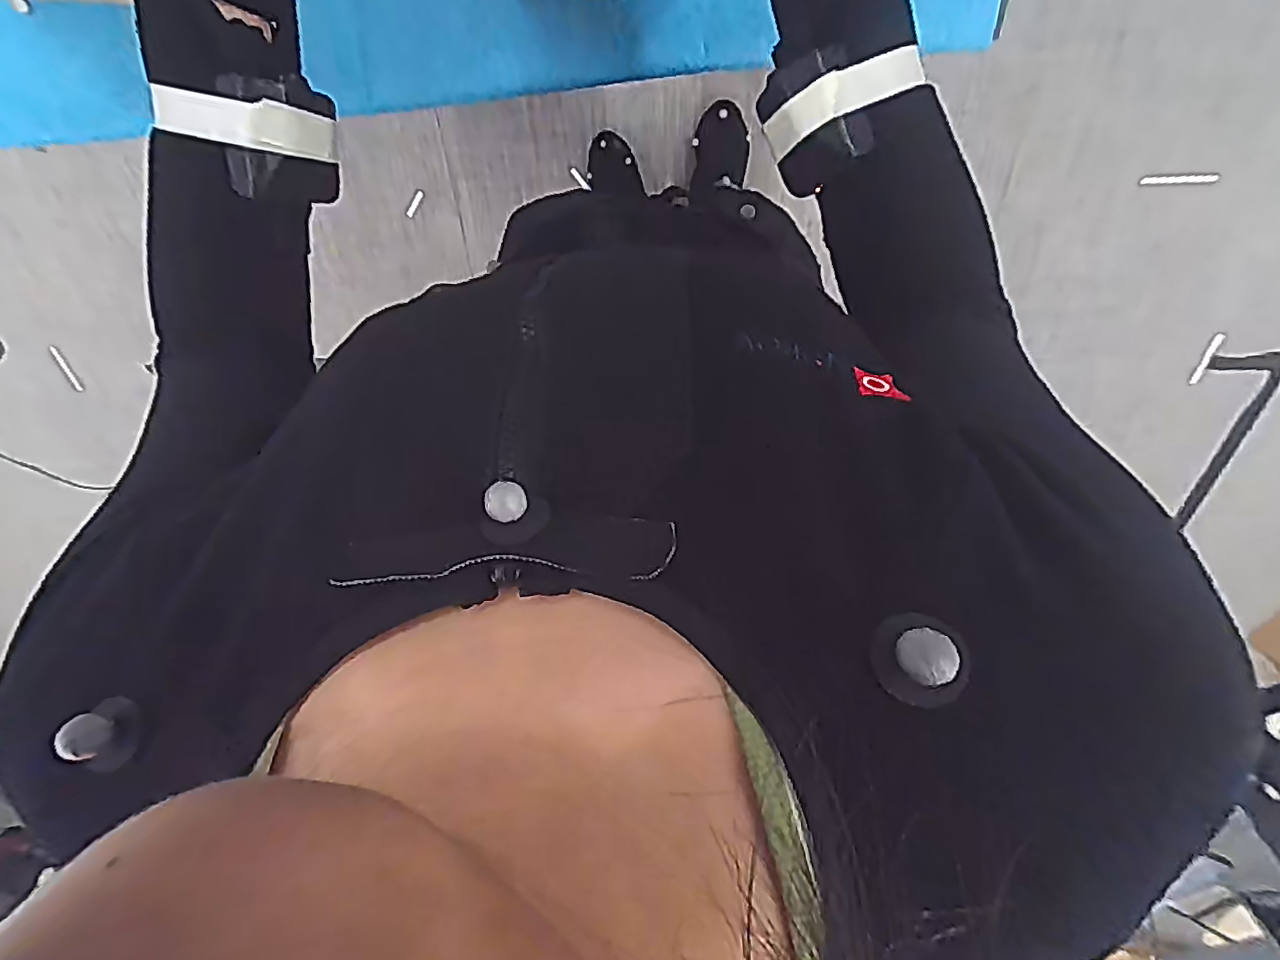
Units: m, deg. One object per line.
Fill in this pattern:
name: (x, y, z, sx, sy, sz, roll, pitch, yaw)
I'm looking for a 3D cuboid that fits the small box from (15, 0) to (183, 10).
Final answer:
small box: (-0.519, -0.482, 0.406, 0.168, 0.176, 0.179, 3, 126, 1)
